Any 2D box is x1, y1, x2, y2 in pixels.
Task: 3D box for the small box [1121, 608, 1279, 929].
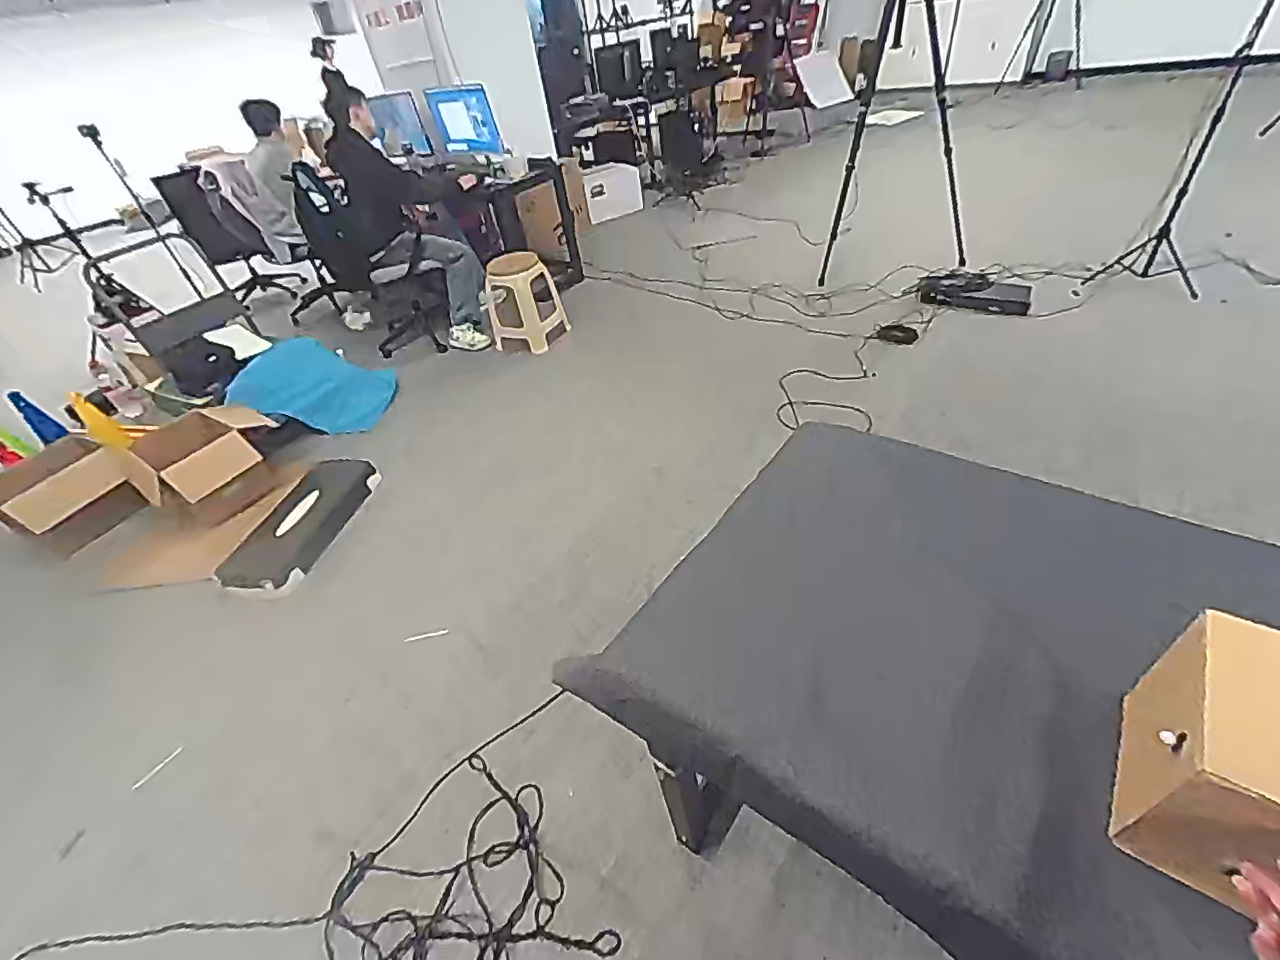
[{"bbox_3d":[0.547,0.251,0.455,0.168,0.176,0.179,21,50,31],"label":"small box"}]
